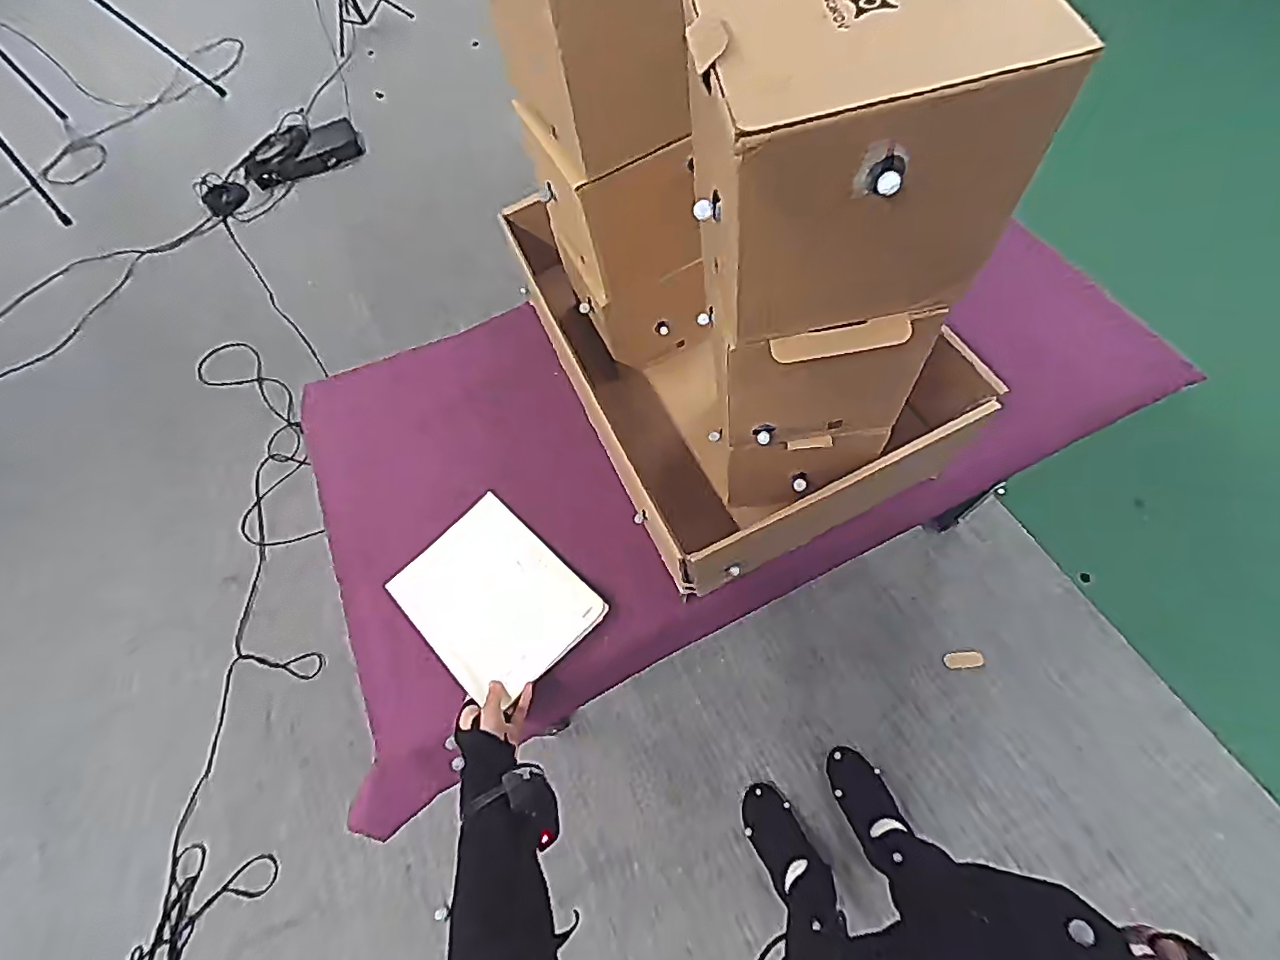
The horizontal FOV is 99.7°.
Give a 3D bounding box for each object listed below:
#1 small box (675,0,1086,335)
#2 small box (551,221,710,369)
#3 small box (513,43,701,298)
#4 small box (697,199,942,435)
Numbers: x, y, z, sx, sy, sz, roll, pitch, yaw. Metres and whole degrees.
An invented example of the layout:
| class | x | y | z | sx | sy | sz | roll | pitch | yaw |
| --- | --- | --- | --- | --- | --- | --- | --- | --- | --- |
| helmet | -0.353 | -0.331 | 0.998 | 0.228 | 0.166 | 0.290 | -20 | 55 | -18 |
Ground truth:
| class | x | y | z | sx | sy | sz | roll | pitch | yaw |
| --- | --- | --- | --- | --- | --- | --- | --- | --- | --- |
| small box | 0.128 | -0.222 | 0.365 | 0.179 | 0.176 | 0.168 | -10 | 64 | 5 |
| small box | -0.003 | -0.285 | 0.780 | 0.168 | 0.176 | 0.179 | -26 | 66 | -4 |
| small box | -0.017 | -0.349 | 0.632 | 0.179 | 0.176 | 0.168 | -28 | 66 | -5 |
| small box | 0.151 | -0.156 | 0.512 | 0.168 | 0.176 | 0.179 | -9 | 63 | 7 |
